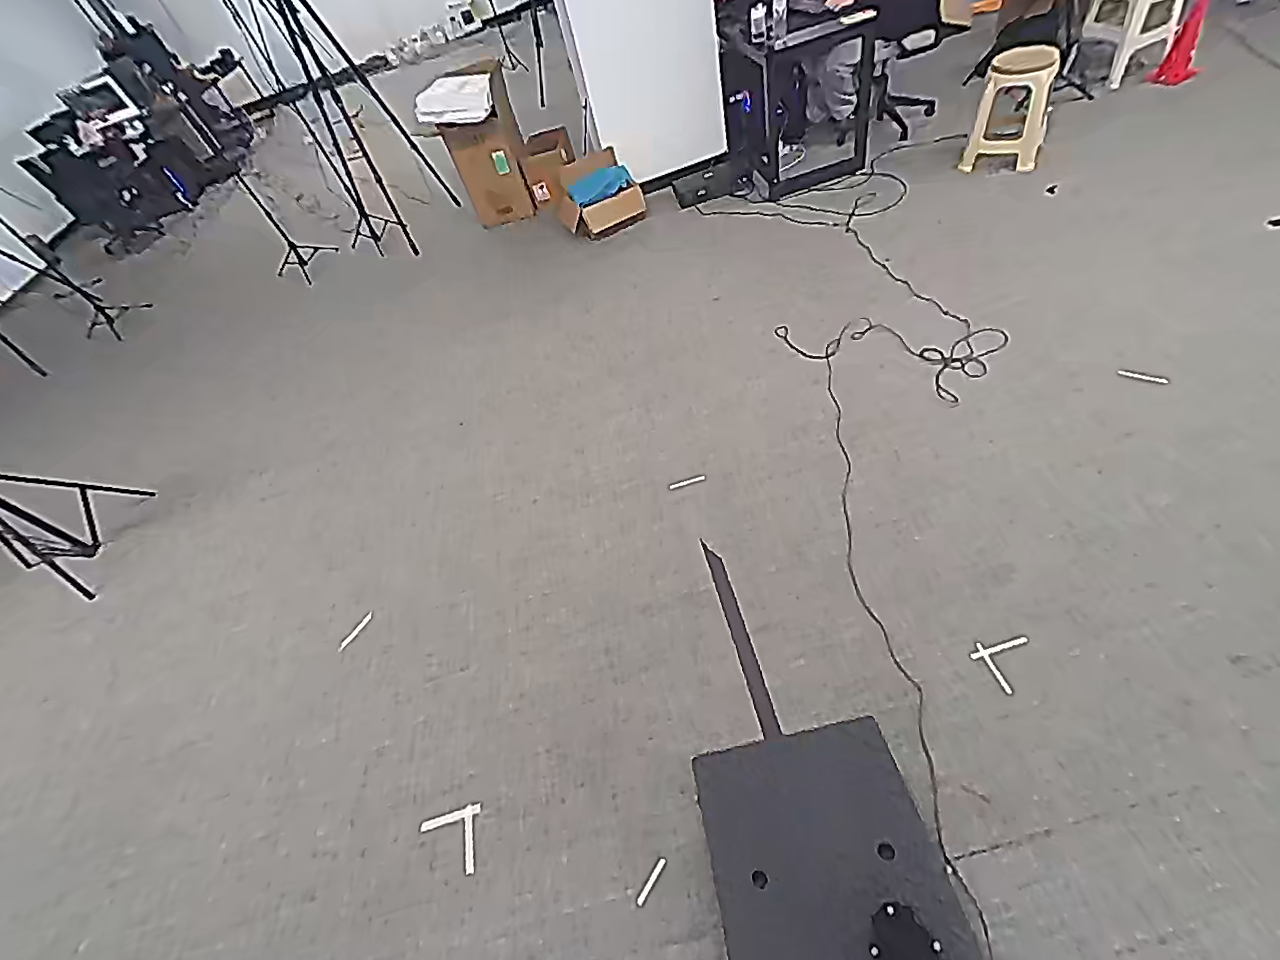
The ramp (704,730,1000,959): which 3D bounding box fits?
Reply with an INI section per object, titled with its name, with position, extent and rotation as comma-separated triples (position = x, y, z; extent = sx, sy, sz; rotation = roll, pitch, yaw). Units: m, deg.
[ramp]
position = 0.459, 1.011, 1.019
extent = 0.509, 0.206, 0.991
rotation = -19, 46, 3
